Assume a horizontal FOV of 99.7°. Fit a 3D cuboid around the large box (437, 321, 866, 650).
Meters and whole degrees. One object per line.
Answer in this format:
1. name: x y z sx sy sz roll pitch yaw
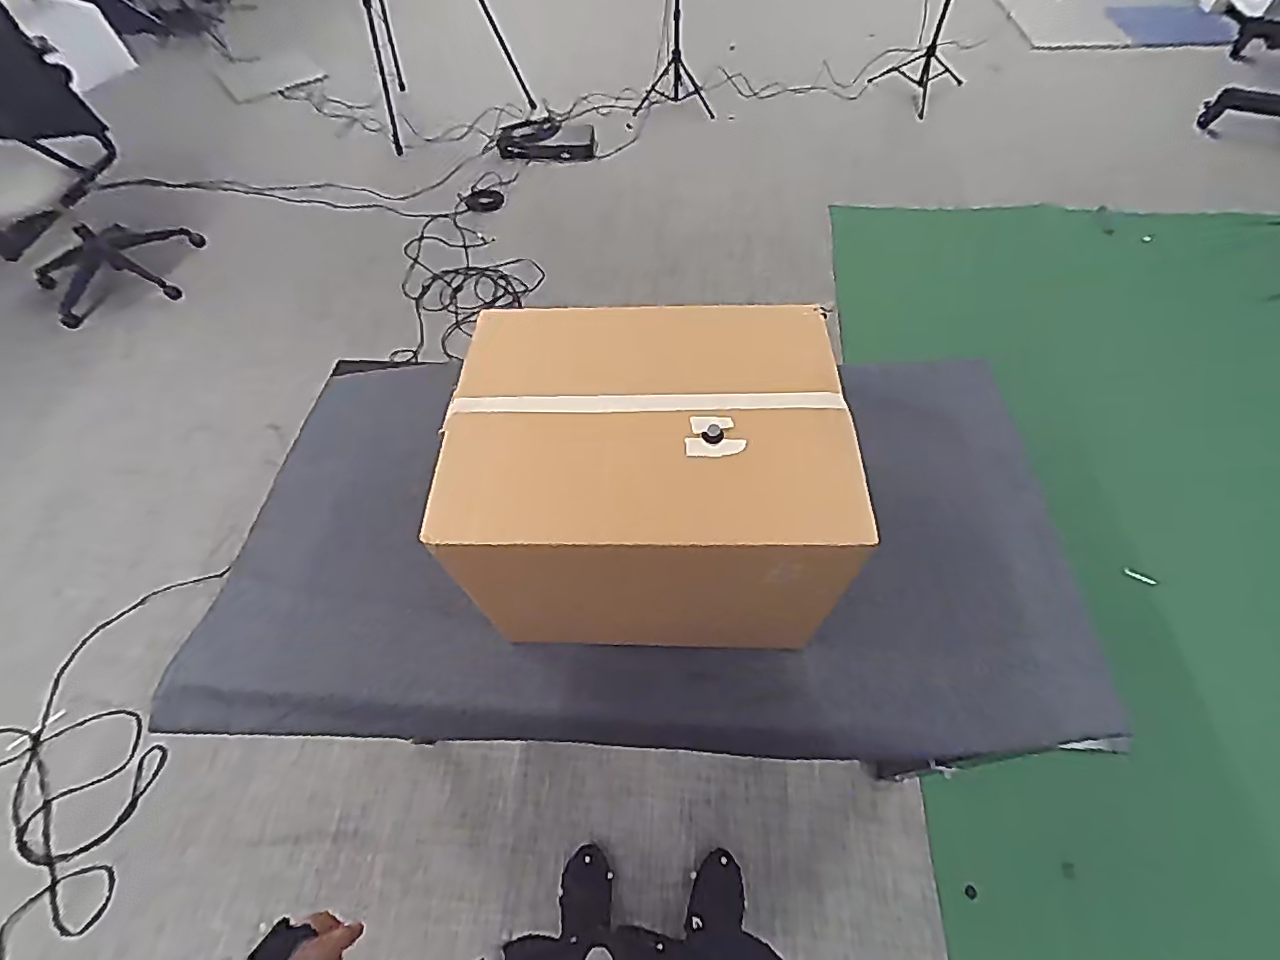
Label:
1. large box: 0.013 0.021 0.697 0.408 0.320 0.320 0 57 2
